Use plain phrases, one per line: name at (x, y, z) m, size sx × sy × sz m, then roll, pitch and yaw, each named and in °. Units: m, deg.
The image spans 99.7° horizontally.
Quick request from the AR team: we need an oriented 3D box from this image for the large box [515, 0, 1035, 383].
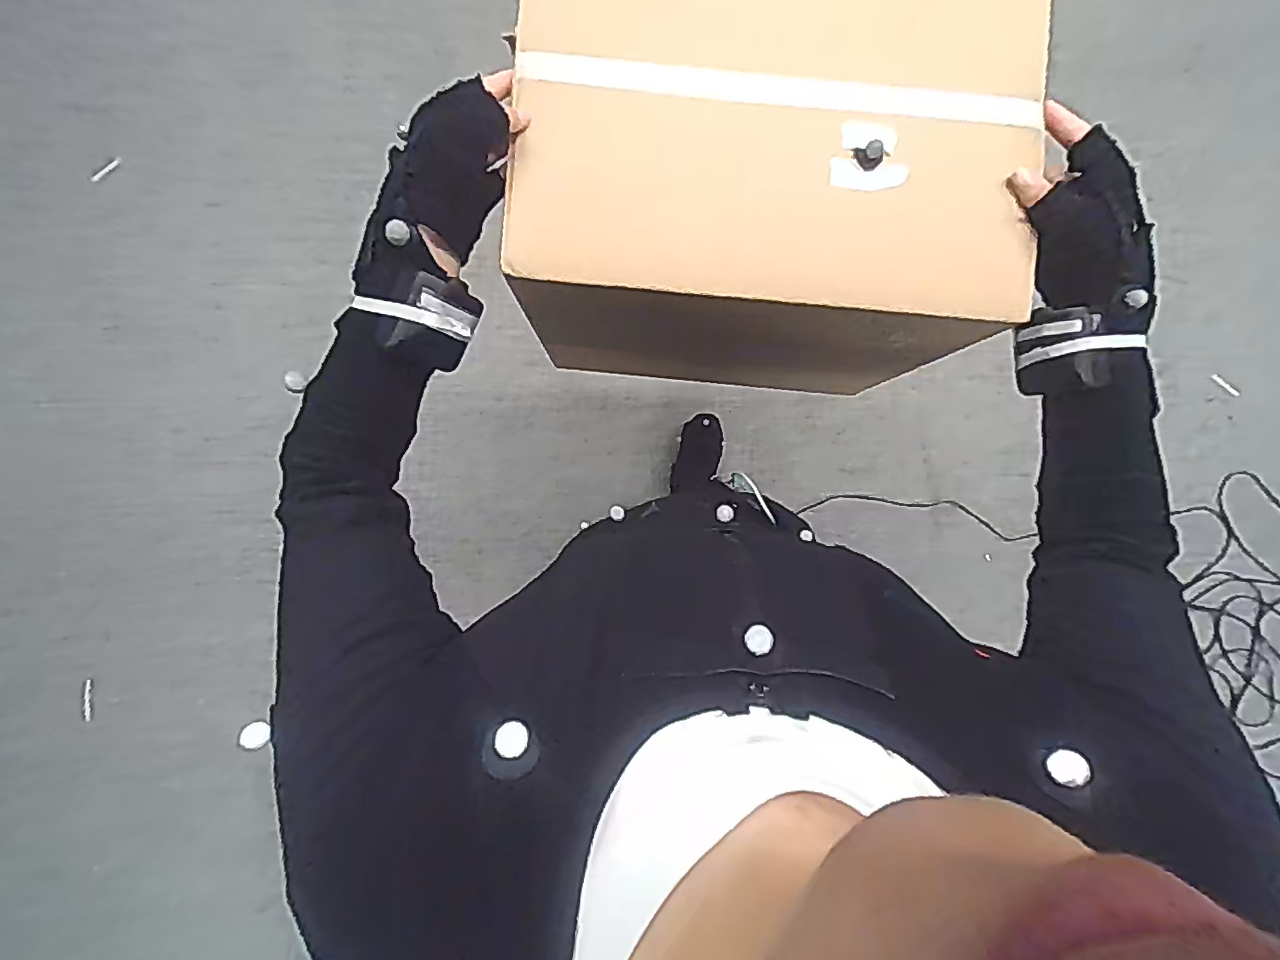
large box at (0.104, -0.295, 0.572) m, size 0.408 × 0.320 × 0.320 m, roll 4°, pitch 89°, yaw -1°
